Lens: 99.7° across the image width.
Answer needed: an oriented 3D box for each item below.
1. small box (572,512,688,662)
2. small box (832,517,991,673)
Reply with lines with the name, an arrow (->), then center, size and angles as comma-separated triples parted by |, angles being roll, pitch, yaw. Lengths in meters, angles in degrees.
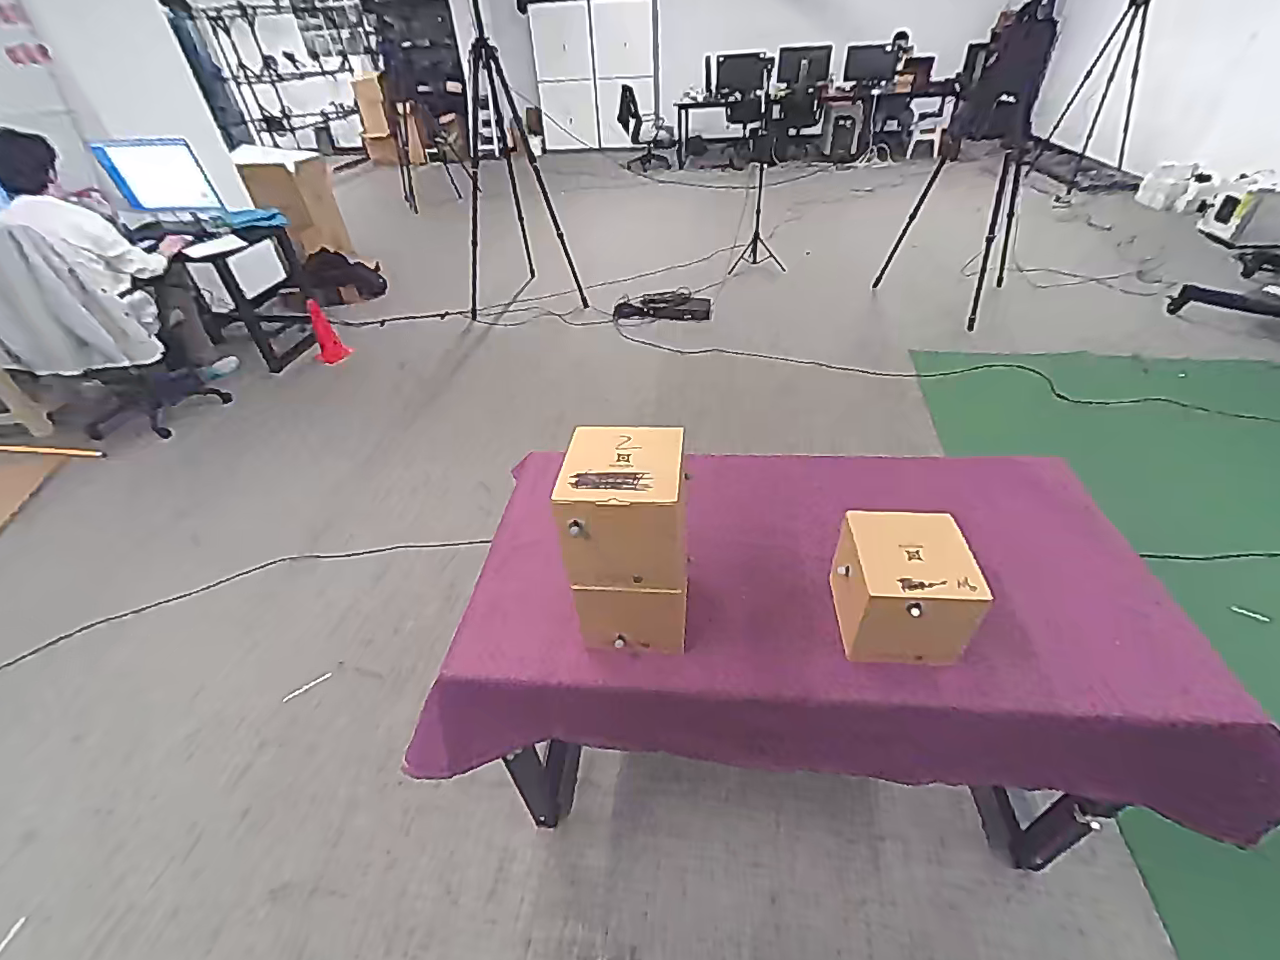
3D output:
small box -> -0.007, 0.175, 0.901 | 0.168, 0.176, 0.179 | 2, 41, 8
small box -> 0.411, 0.179, 0.857 | 0.168, 0.176, 0.179 | 0, 39, 7
